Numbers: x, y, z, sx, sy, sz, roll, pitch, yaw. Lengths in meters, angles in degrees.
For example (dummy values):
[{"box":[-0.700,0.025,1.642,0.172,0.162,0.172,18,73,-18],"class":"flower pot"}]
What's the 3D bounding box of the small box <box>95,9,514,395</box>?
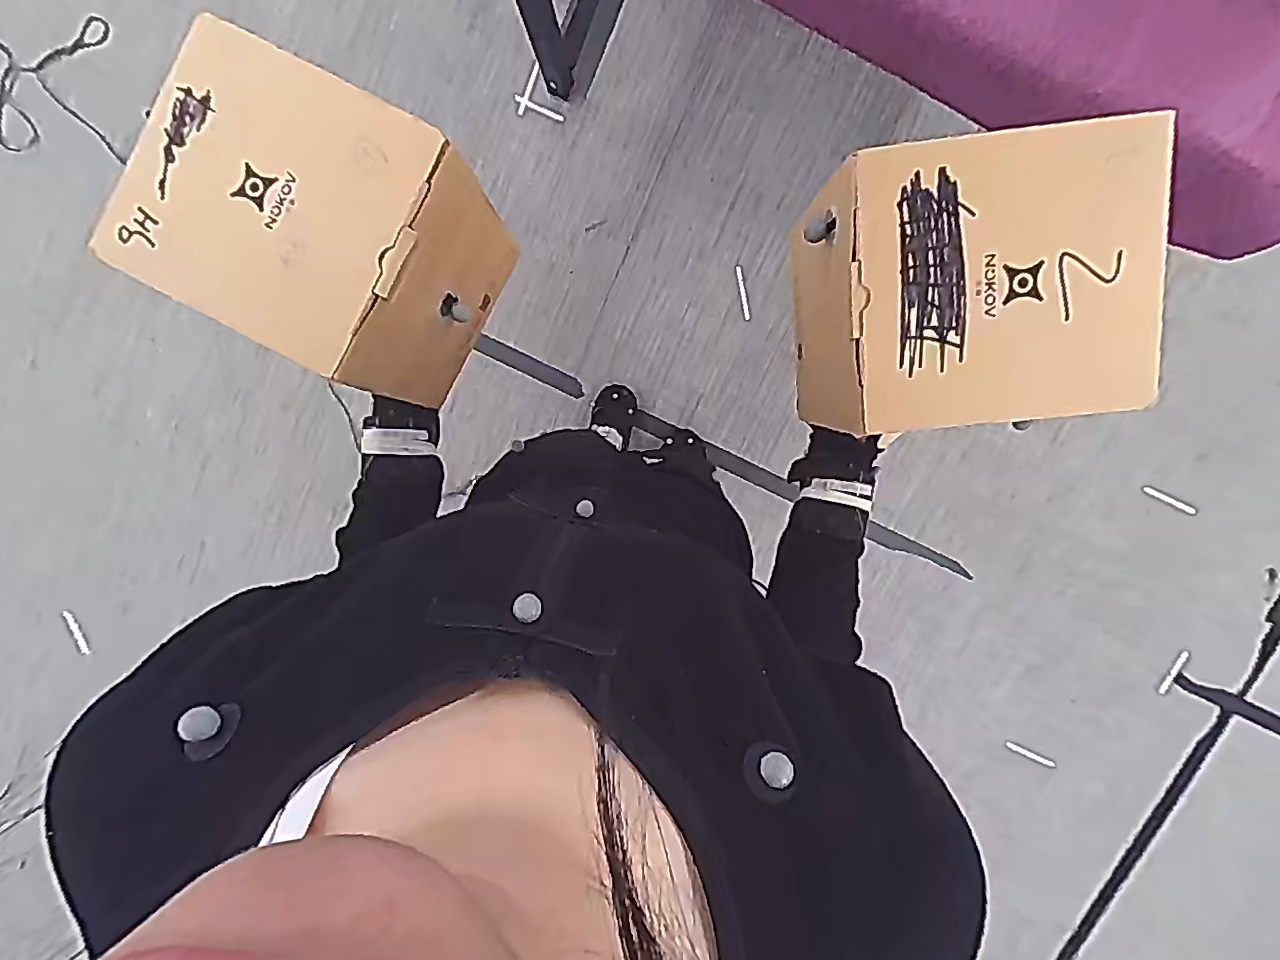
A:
[{"box":[-0.219,-0.176,0.408,0.179,0.176,0.168,28,92,0],"class":"small box"}]
